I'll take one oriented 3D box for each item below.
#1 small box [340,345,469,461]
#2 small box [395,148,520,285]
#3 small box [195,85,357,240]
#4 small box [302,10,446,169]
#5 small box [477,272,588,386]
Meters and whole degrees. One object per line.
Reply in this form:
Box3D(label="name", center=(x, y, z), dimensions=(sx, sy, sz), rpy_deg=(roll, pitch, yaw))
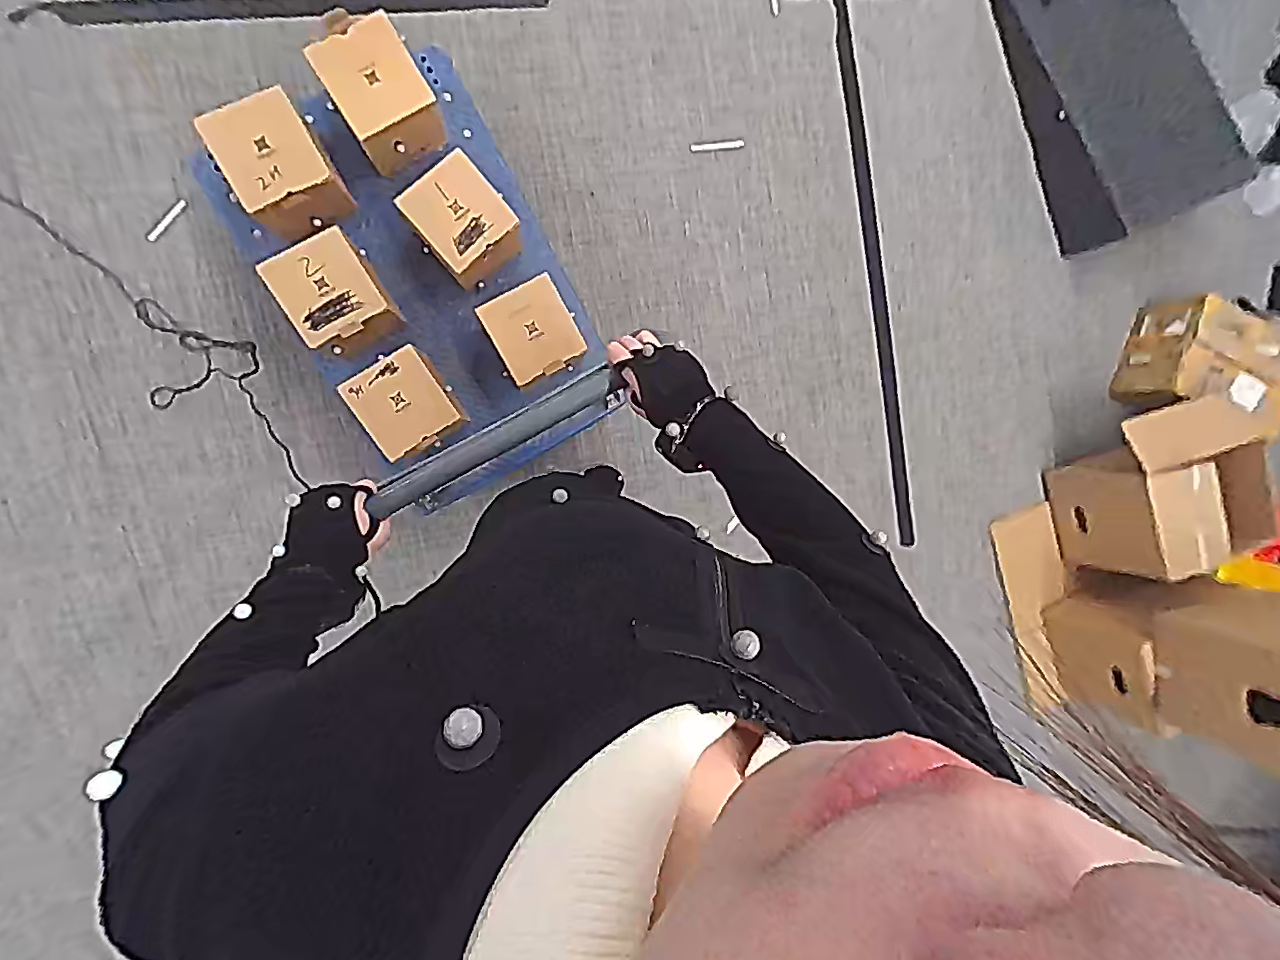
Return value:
Box3D(label="small box", center=(-0.480, -0.159, 1.136), dimensions=(0.168, 0.176, 0.179), rpy_deg=(-34, 101, -7))
Box3D(label="small box", center=(-0.365, -0.529, 1.122), dimensions=(0.168, 0.176, 0.179), rpy_deg=(-42, 101, -4))
Box3D(label="small box", center=(-0.691, -0.603, 1.050), dimensions=(0.168, 0.176, 0.179), rpy_deg=(-29, 101, -7))
Box3D(label="small box", center=(-0.511, -0.753, 1.072), dimensions=(0.168, 0.176, 0.179), rpy_deg=(-34, 101, -6))
Box3D(label="small box", center=(-0.228, -0.315, 1.172), dimensions=(0.168, 0.176, 0.179), rpy_deg=(-30, 100, -7))
